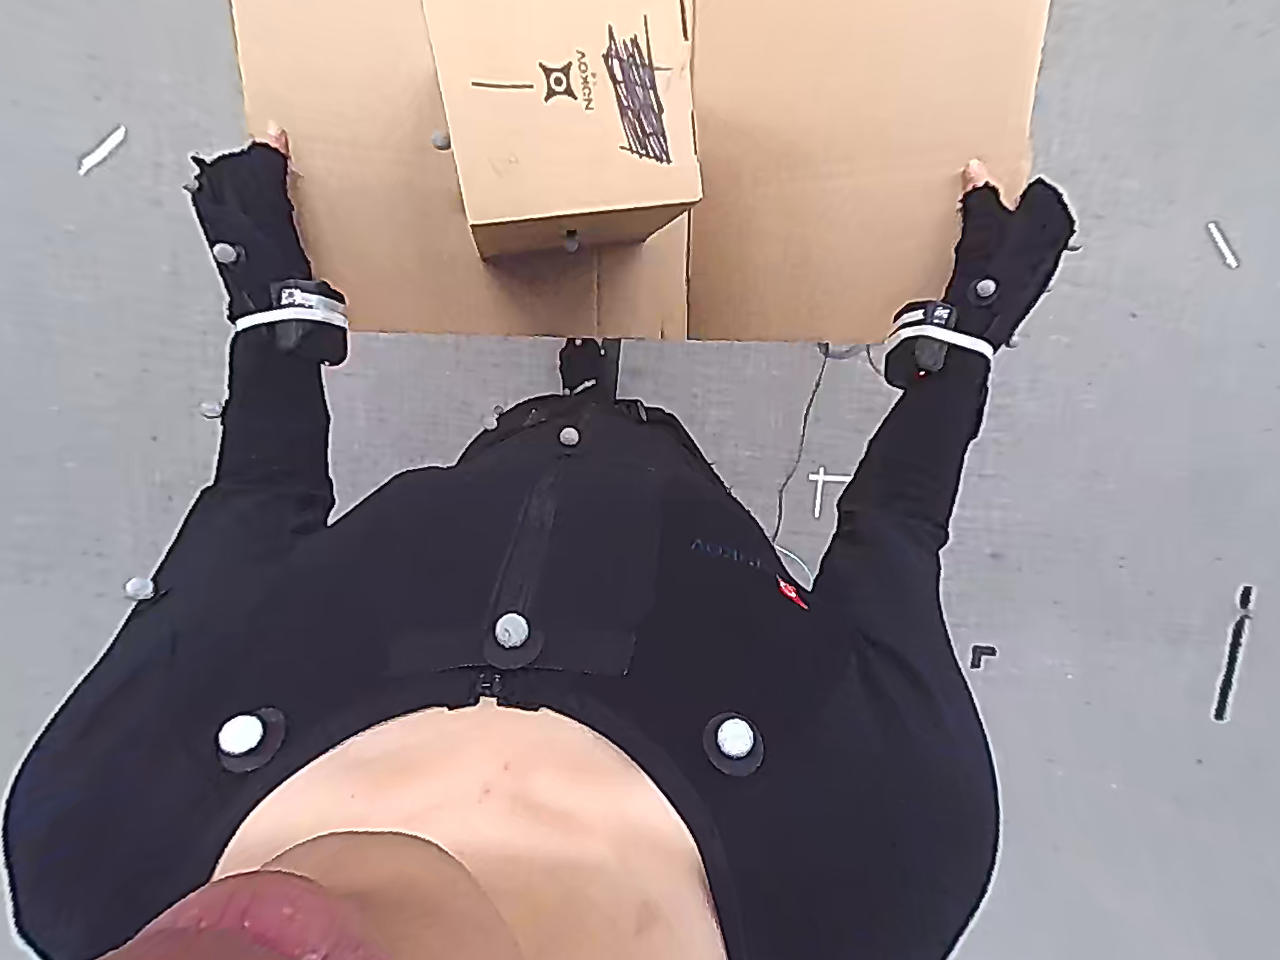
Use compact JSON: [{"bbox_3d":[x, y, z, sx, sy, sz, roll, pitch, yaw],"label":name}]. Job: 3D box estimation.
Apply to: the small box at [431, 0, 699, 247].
[{"bbox_3d":[-0.065,-0.302,0.455,0.179,0.176,0.168,-11,107,-10],"label":"small box"}]
